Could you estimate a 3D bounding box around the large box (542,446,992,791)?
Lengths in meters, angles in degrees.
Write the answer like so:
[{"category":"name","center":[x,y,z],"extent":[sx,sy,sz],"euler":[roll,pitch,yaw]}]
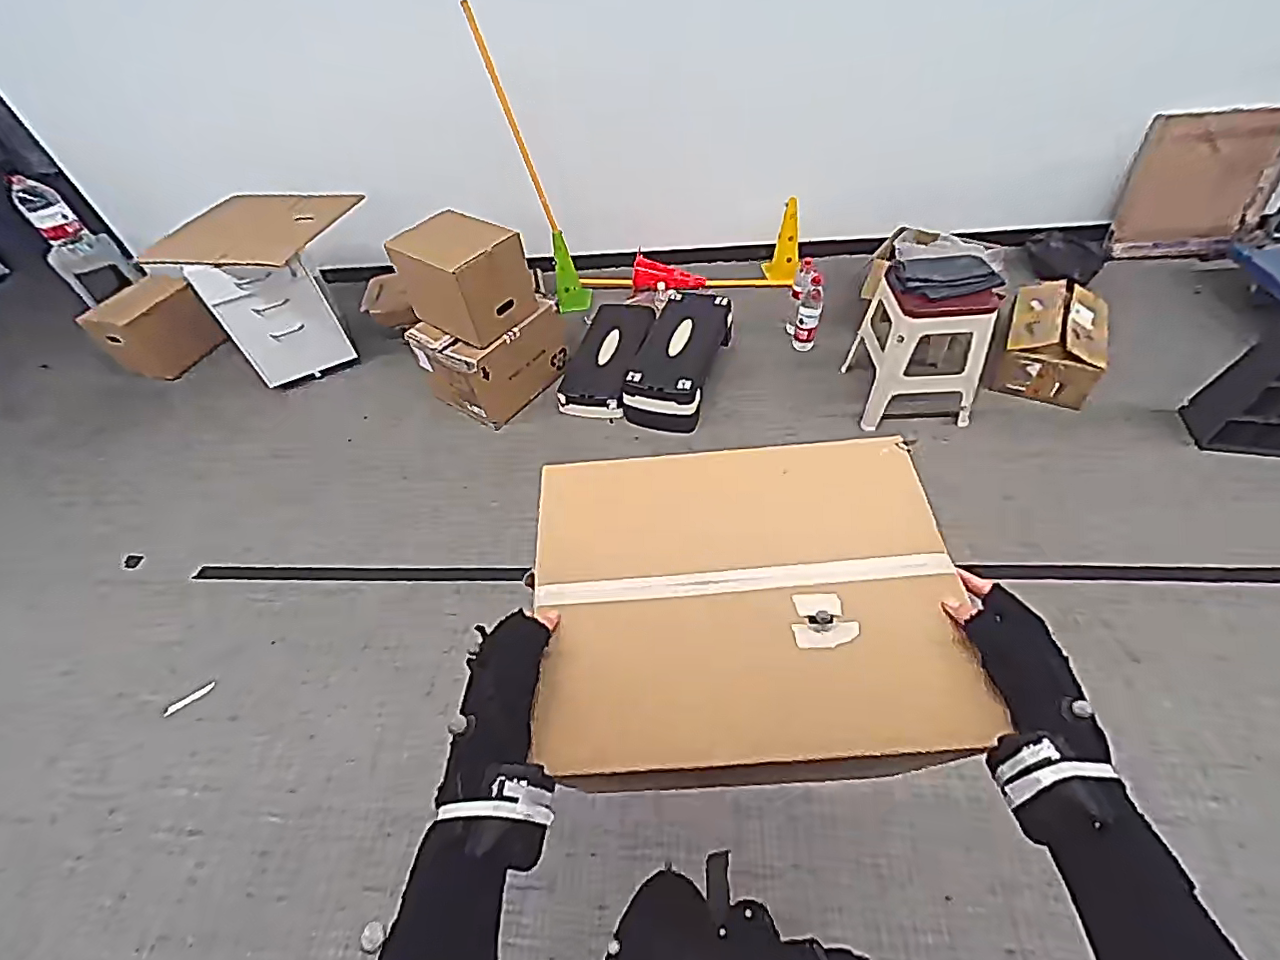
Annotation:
[{"category":"large box","center":[0.108,0.187,0.674],"extent":[0.408,0.320,0.320],"euler":[-5,58,1]}]
